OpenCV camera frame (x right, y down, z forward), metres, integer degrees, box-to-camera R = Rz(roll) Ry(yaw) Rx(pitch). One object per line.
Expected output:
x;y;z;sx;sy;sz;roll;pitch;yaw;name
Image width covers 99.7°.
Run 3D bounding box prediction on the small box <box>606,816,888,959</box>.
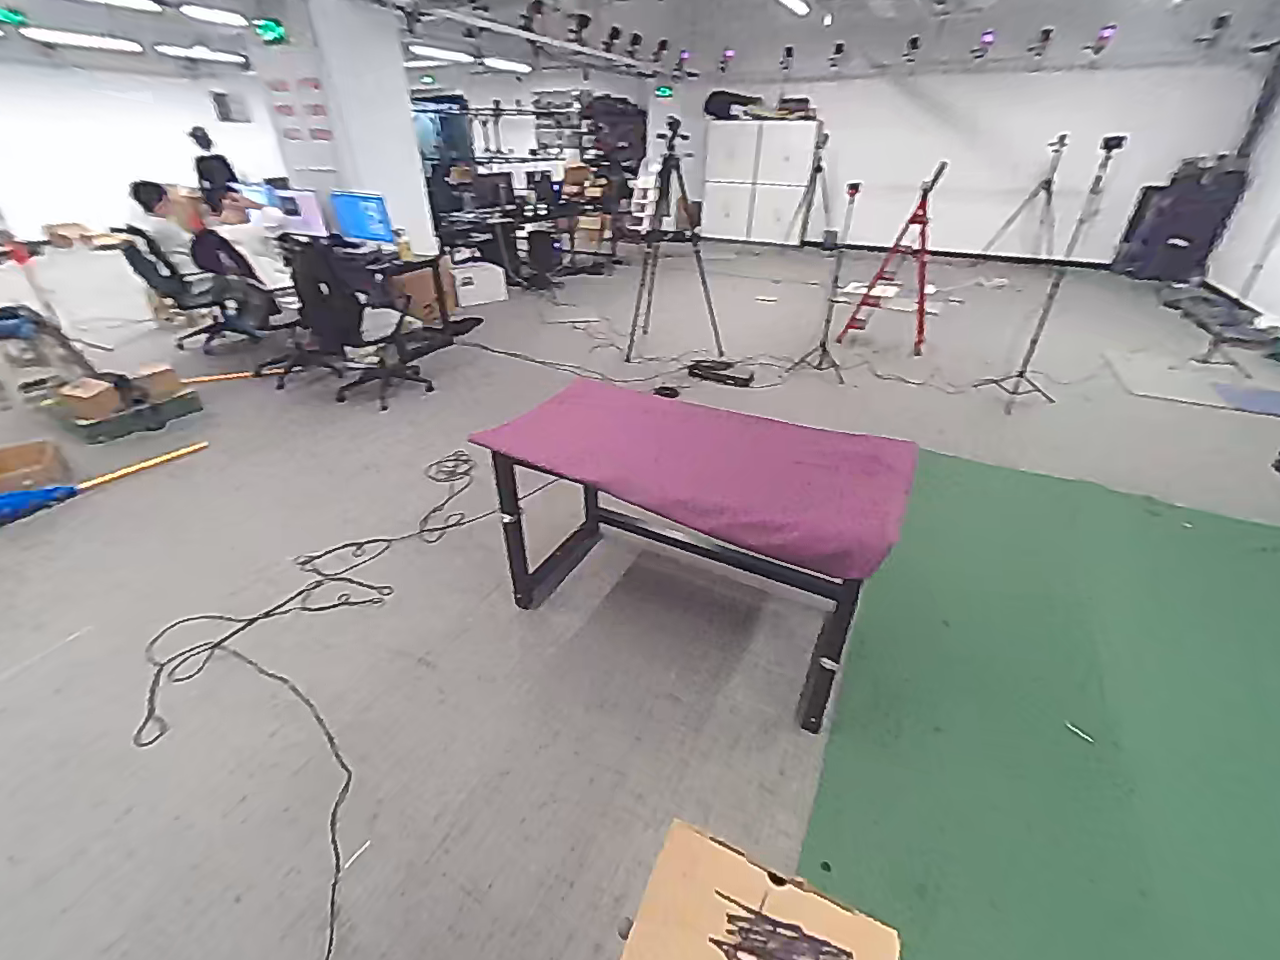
0.059;0.383;0.386;0.168;0.176;0.179;15;52;20;small box
